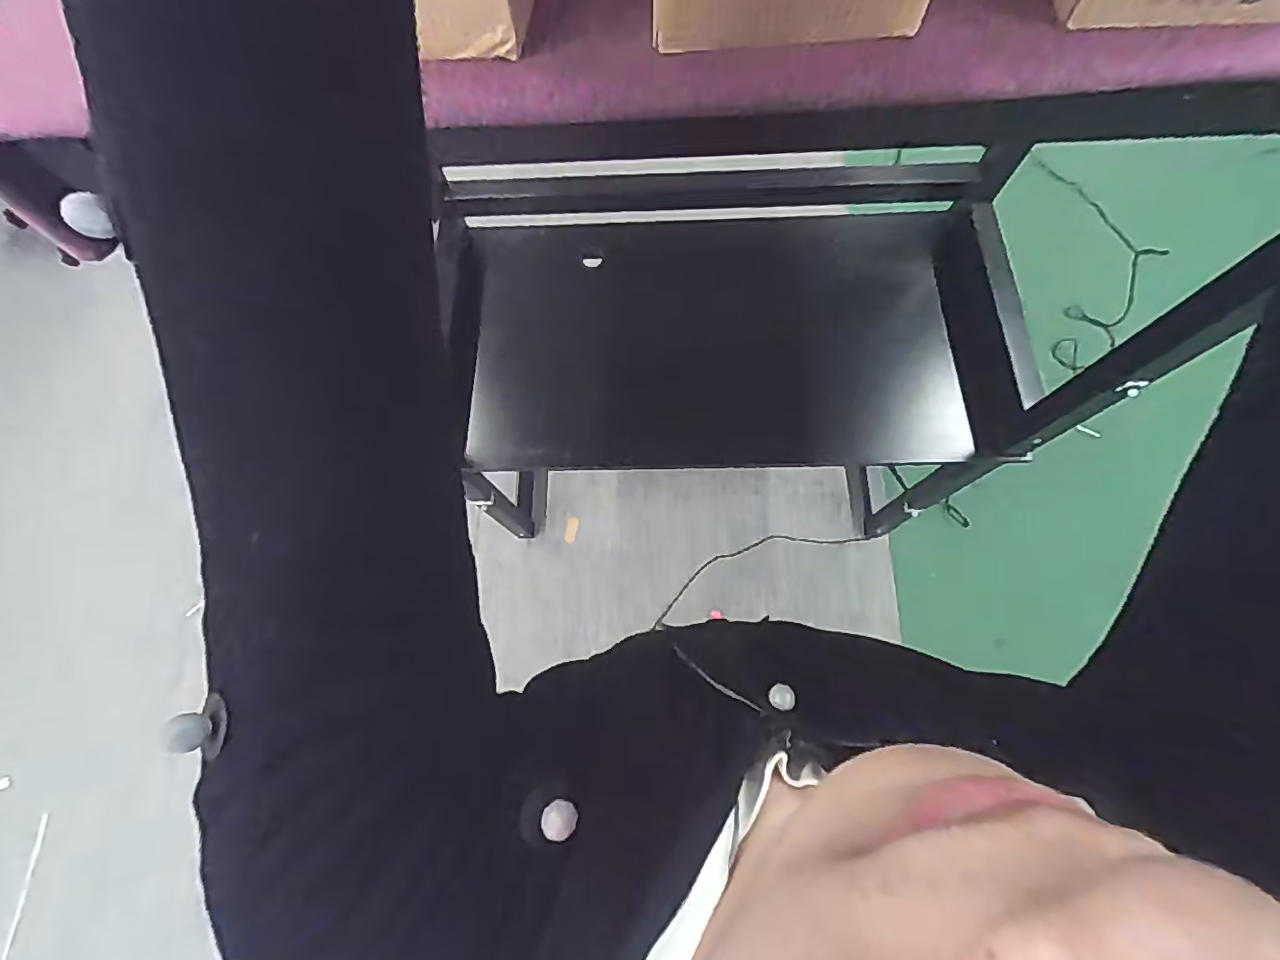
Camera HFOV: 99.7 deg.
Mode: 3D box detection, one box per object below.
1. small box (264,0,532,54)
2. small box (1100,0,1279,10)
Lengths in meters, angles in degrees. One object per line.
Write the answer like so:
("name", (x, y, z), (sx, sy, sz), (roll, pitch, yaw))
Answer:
("small box", (-0.166, -0.403, 0.333), (0.179, 0.176, 0.168), (4, 71, 3))
("small box", (0.351, -0.411, 0.306), (0.168, 0.176, 0.179), (1, 72, 3))
